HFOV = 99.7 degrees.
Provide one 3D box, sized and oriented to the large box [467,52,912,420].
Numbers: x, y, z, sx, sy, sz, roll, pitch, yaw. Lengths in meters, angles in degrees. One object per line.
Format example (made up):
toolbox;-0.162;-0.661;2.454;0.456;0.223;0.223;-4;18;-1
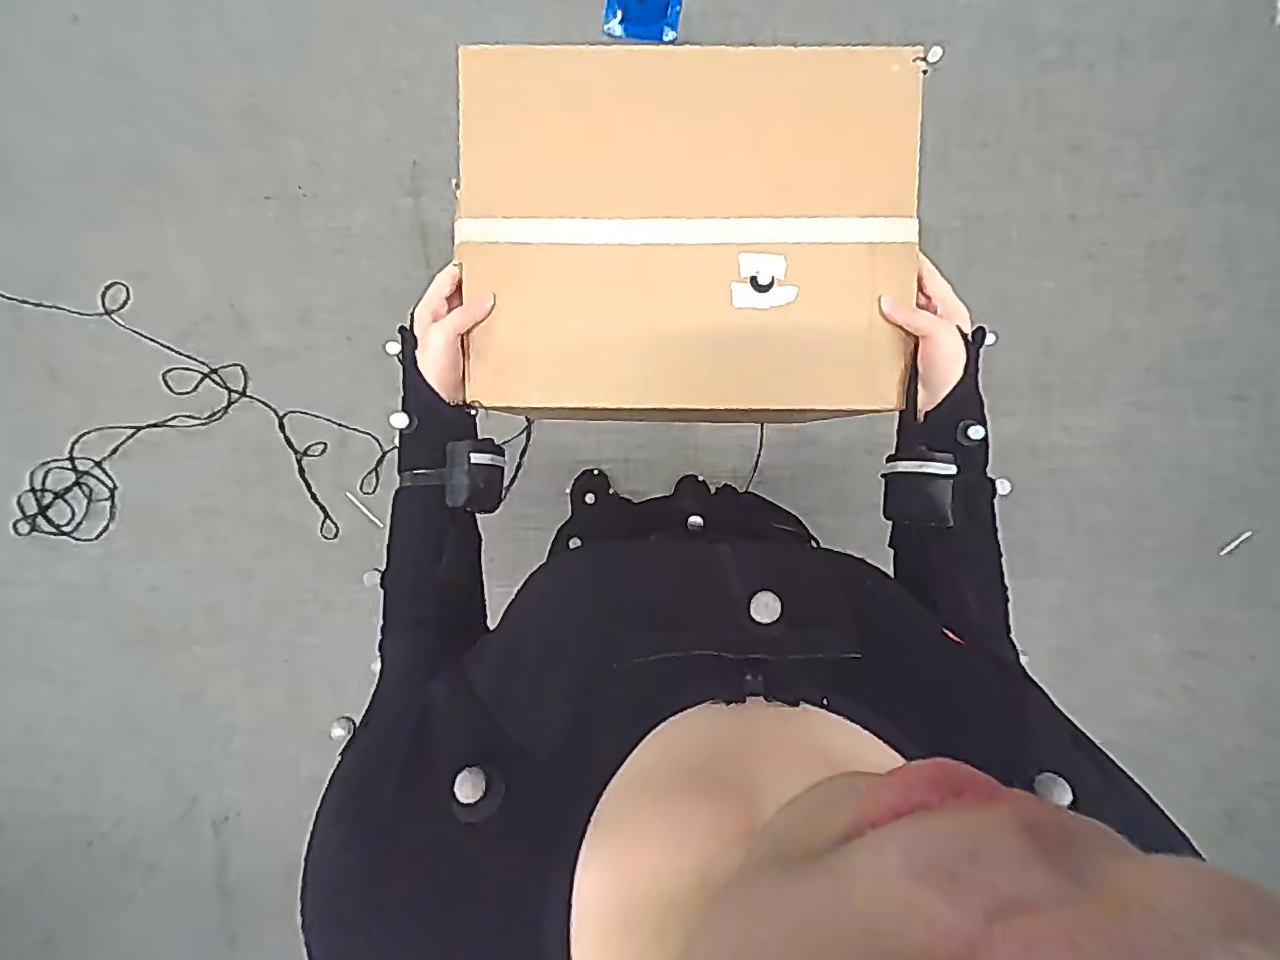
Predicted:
large box;0.043;-0.236;0.637;0.408;0.320;0.320;0;94;-1

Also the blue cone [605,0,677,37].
blue cone;0.001;-1.294;1.295;0.193;0.380;0.192;9;92;1
